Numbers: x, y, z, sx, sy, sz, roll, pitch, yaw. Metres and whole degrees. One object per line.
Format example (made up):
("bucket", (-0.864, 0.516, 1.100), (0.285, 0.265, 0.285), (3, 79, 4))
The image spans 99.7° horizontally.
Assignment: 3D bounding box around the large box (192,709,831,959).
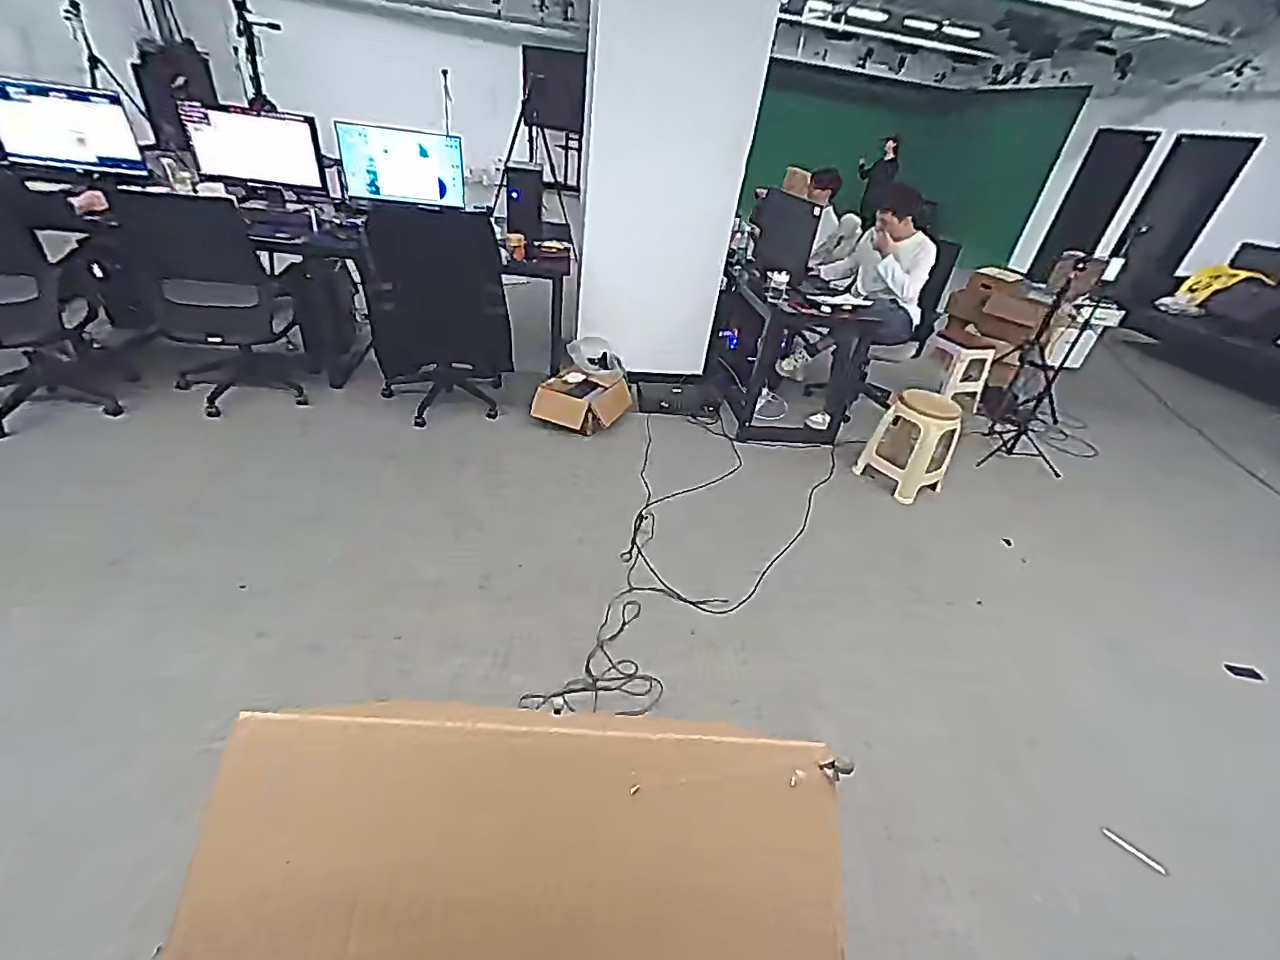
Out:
("large box", (-0.090, 0.373, 0.469), (0.408, 0.320, 0.320), (5, 69, -5))
